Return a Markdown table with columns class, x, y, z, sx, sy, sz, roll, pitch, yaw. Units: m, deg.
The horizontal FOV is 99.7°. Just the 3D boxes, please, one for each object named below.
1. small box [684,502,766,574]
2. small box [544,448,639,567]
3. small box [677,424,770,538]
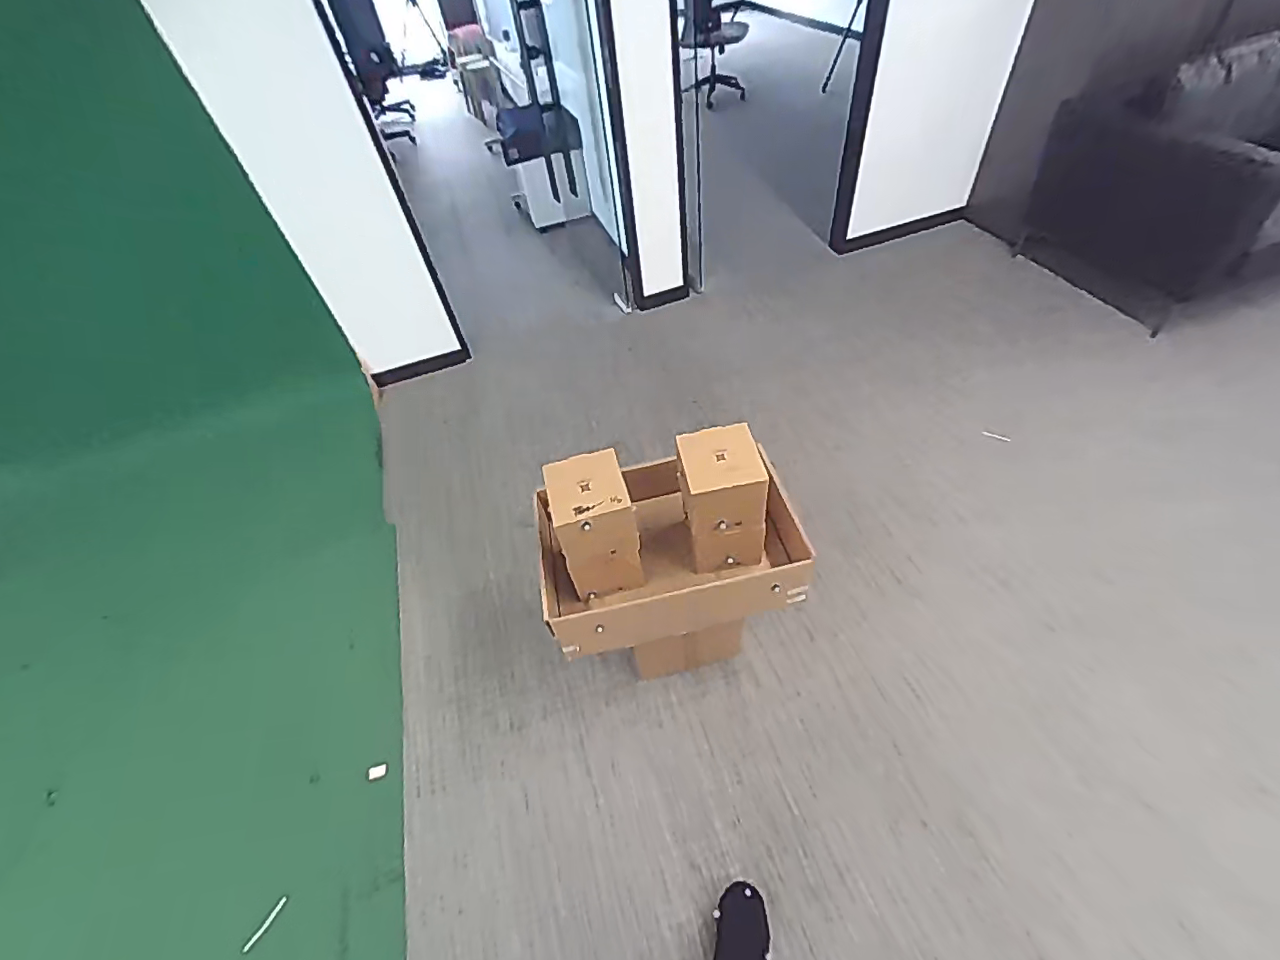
| class | x | y | z | sx | sy | sz | roll | pitch | yaw |
| --- | --- | --- | --- | --- | --- | --- | --- | --- | --- |
| small box | 0.201 | 0.106 | 1.332 | 0.168 | 0.176 | 0.179 | -10 | 49 | 0 |
| small box | -0.105 | 0.062 | 1.194 | 0.168 | 0.176 | 0.179 | -15 | 49 | -4 |
| small box | 0.180 | 0.003 | 1.208 | 0.168 | 0.176 | 0.179 | -10 | 49 | -1 |
